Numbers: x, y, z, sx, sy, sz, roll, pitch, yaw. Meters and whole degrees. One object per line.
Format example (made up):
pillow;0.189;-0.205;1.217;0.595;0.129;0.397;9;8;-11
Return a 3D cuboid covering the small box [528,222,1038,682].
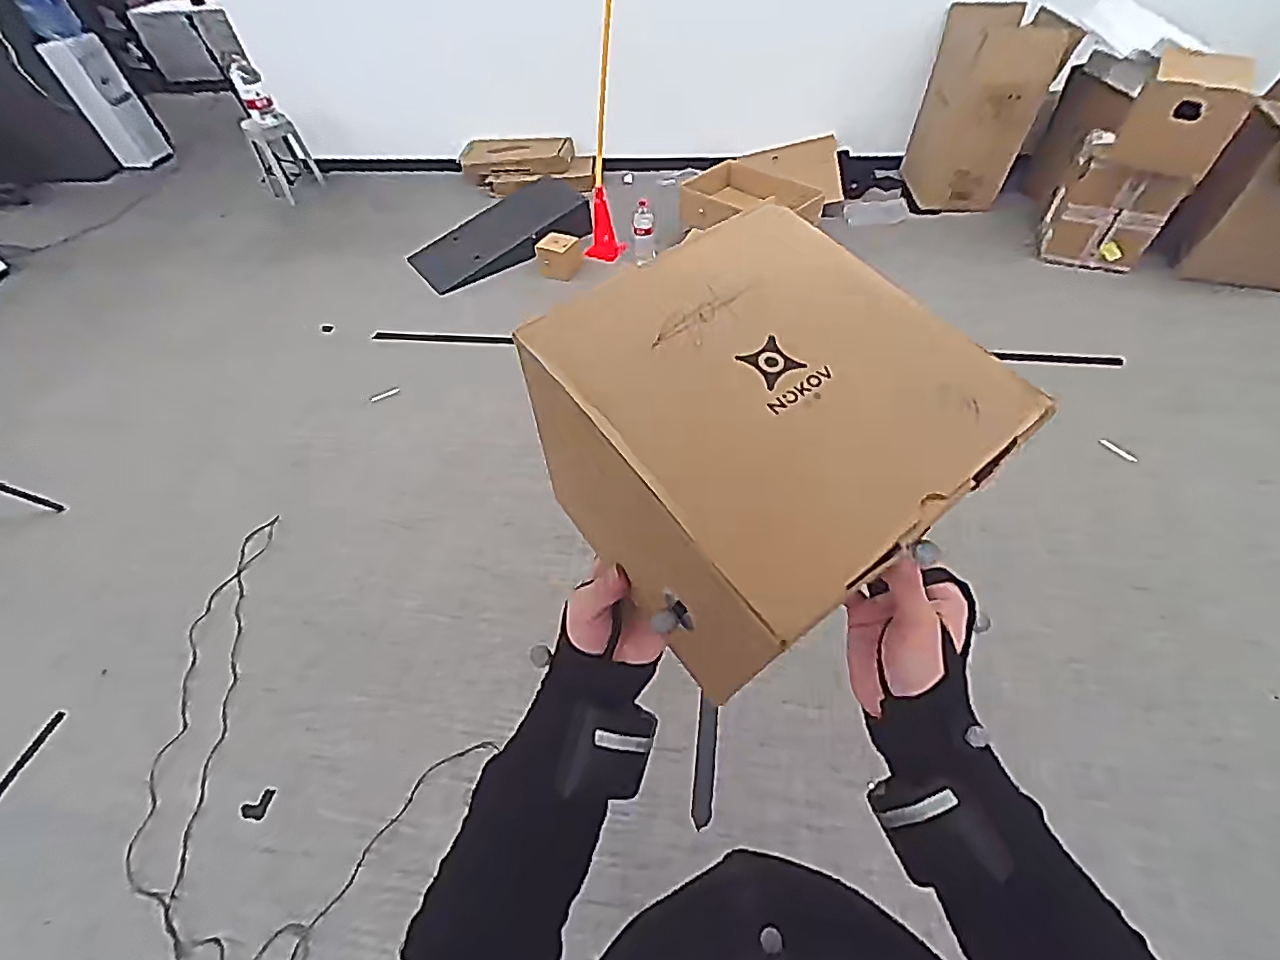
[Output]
small box;0.061;-0.004;0.316;0.168;0.176;0.179;-34;66;-19
